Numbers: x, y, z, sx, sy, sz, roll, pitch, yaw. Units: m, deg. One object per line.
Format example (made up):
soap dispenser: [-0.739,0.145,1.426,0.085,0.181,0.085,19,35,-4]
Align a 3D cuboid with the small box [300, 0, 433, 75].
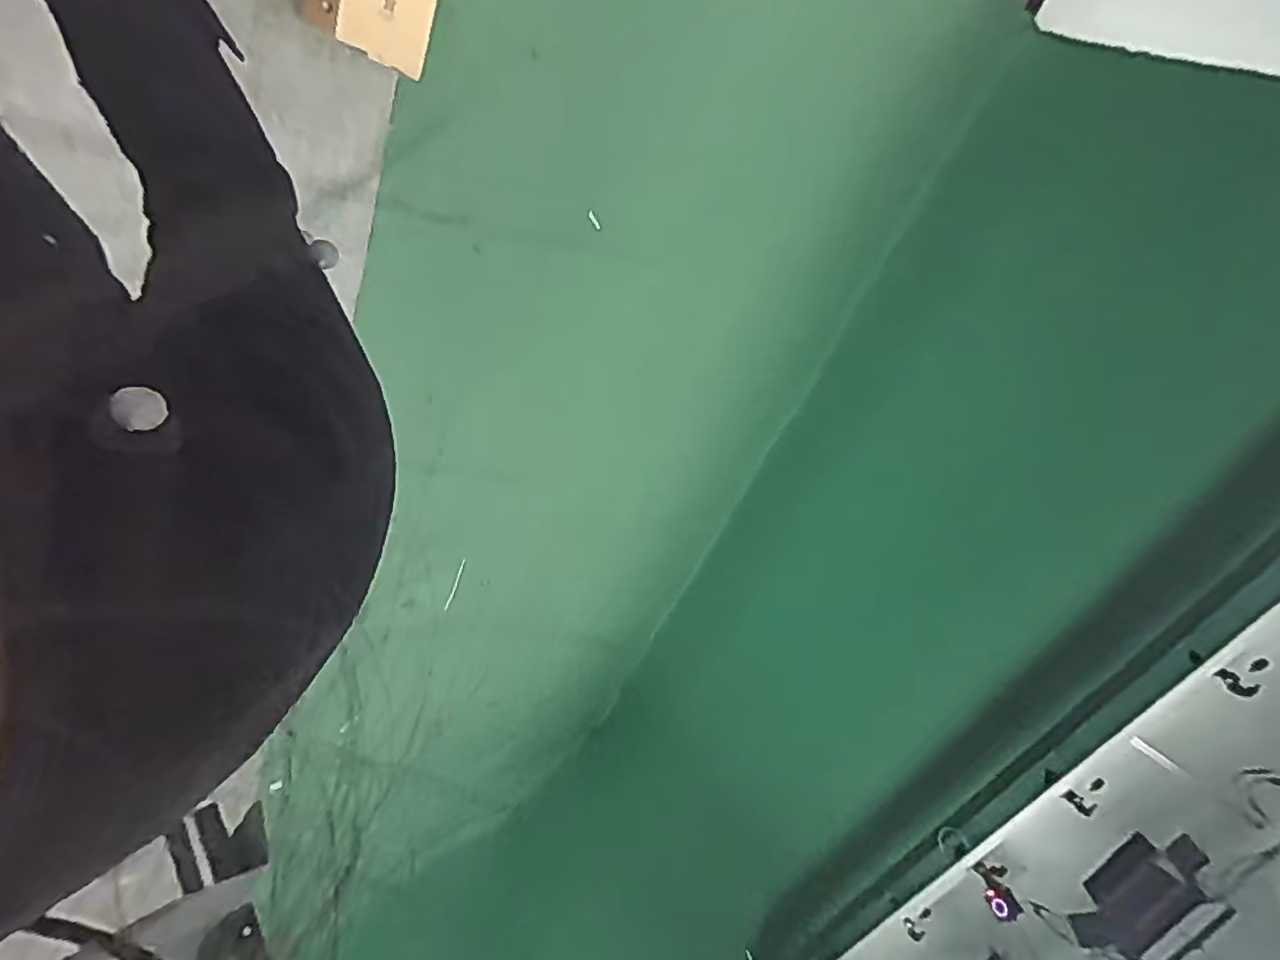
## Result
small box: [-0.518,-0.922,1.026,0.168,0.176,0.179,-9,132,-51]
